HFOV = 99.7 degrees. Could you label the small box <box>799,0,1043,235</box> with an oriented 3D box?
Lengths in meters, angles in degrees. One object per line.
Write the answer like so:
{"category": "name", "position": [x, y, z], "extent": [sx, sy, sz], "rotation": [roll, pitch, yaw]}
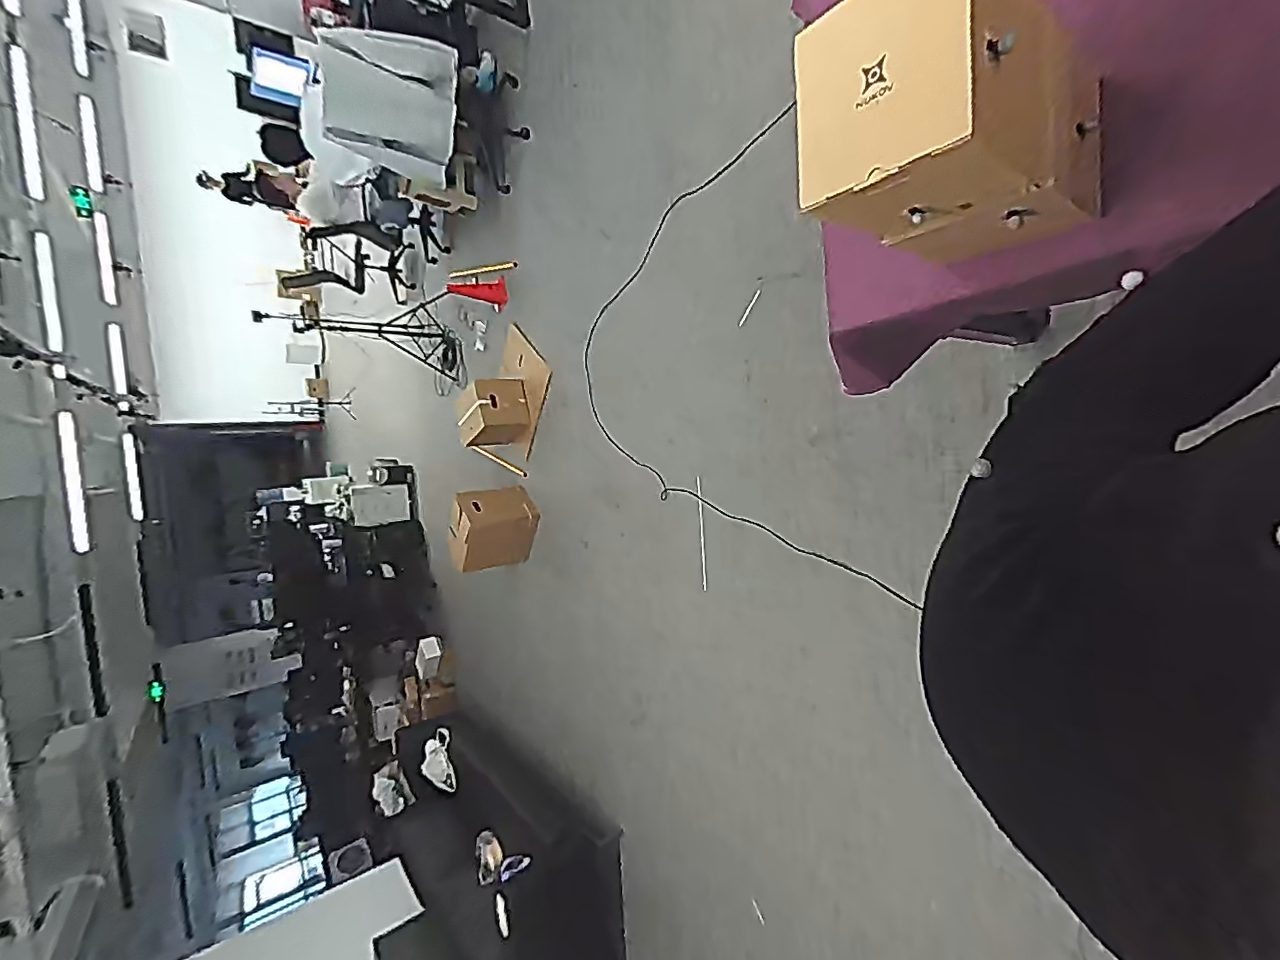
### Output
{"category": "small box", "position": [0.281, -0.374, 0.547], "extent": [0.168, 0.176, 0.179], "rotation": [2, 97, 53]}

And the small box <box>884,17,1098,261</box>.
{"category": "small box", "position": [0.414, -0.378, 0.642], "extent": [0.179, 0.176, 0.168], "rotation": [2, 95, 54]}
